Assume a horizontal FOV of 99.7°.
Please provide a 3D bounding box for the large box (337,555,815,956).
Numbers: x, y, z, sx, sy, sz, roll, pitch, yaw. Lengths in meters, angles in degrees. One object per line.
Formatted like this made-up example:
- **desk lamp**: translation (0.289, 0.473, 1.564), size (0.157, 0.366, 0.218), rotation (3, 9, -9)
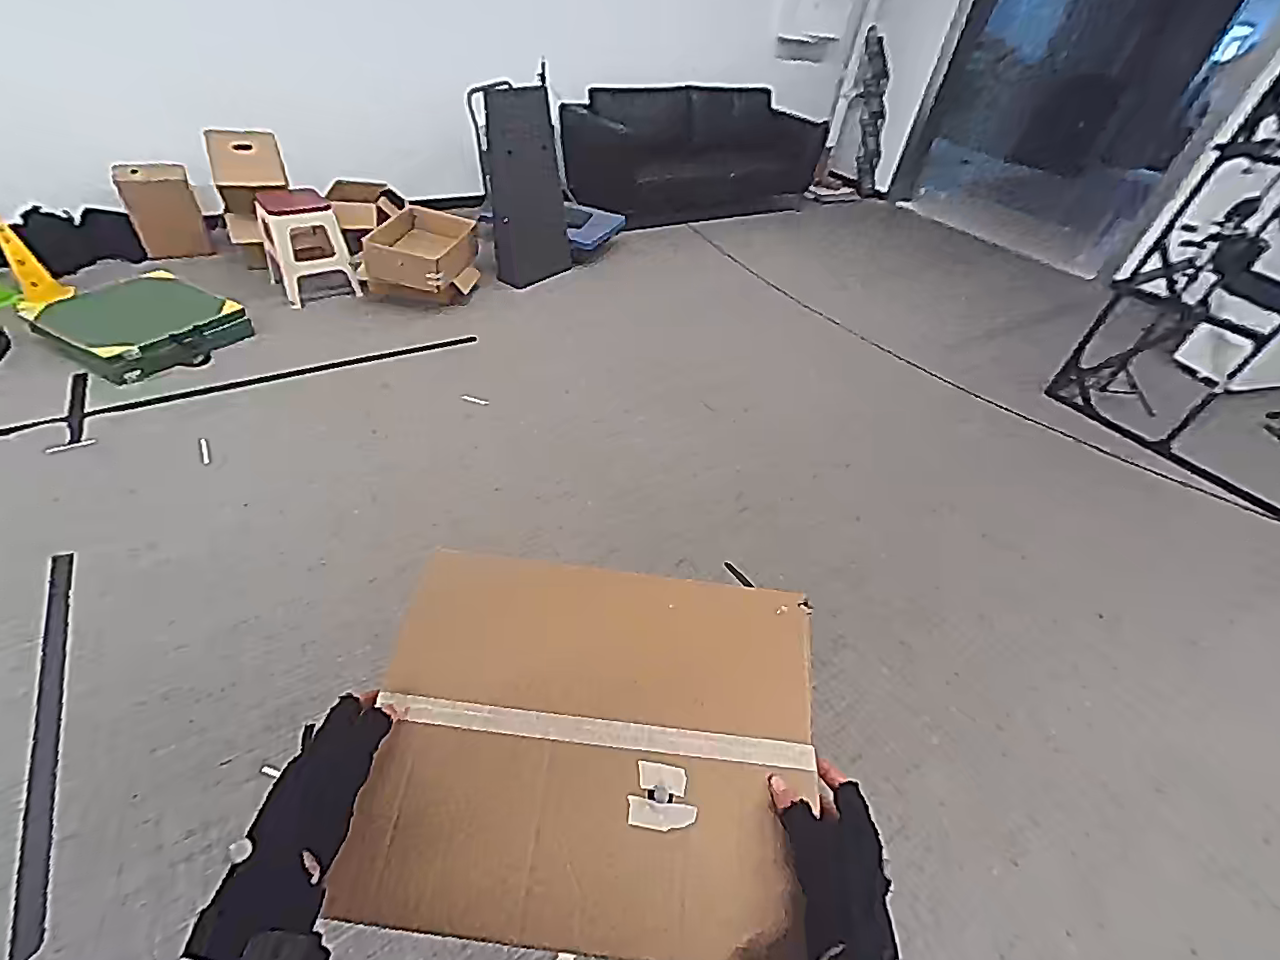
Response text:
- **large box**: translation (-0.048, 0.310, 0.644), size (0.408, 0.320, 0.320), rotation (7, 60, 1)
